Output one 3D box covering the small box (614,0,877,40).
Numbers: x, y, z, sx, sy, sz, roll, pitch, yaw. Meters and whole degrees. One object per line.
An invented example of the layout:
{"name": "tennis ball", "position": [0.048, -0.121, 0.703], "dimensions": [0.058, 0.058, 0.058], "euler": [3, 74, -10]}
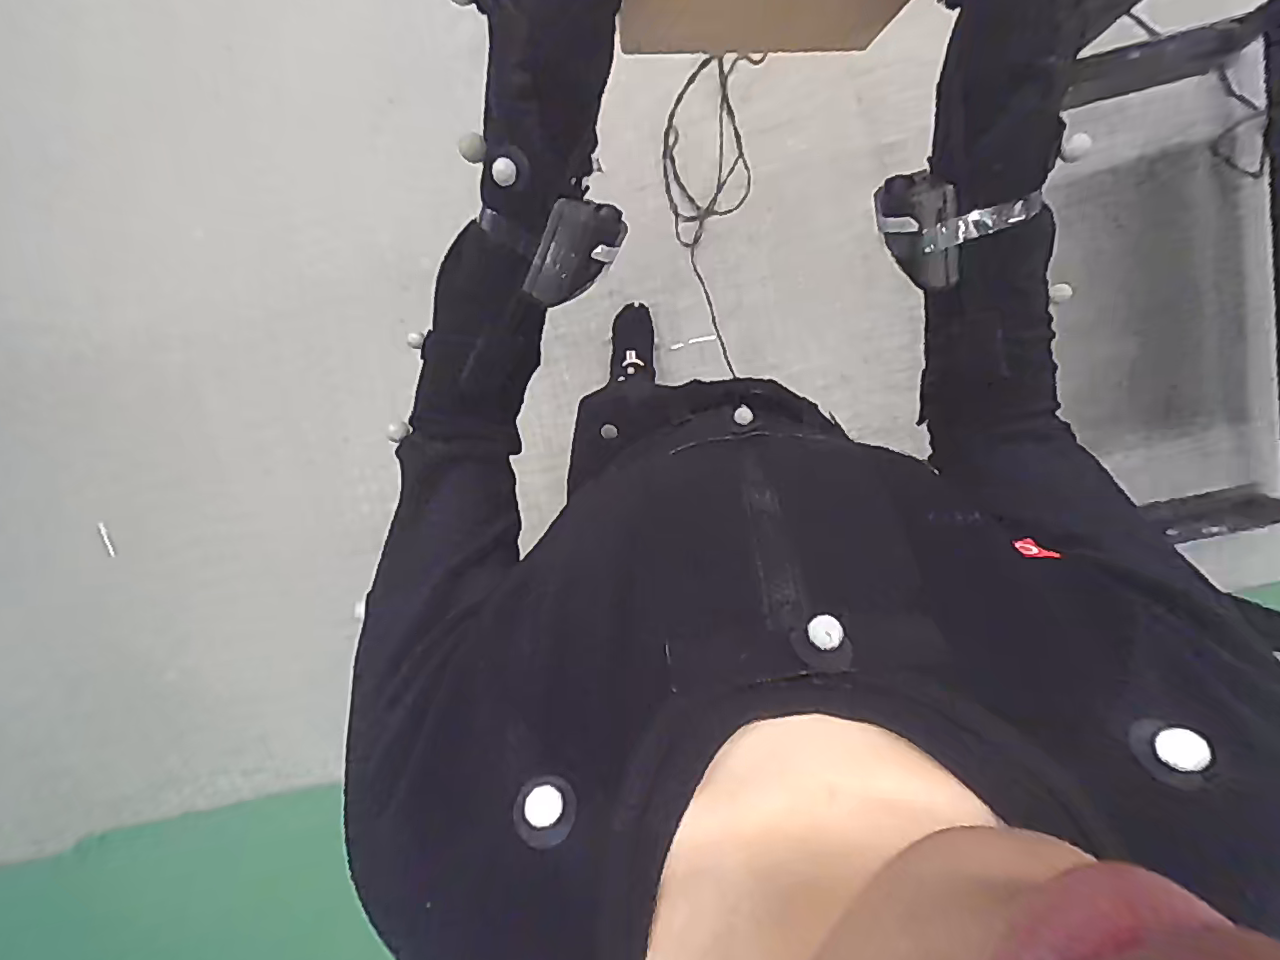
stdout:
{"name": "small box", "position": [0.068, -0.358, 0.278], "dimensions": [0.179, 0.176, 0.168], "euler": [0, 110, 0]}
